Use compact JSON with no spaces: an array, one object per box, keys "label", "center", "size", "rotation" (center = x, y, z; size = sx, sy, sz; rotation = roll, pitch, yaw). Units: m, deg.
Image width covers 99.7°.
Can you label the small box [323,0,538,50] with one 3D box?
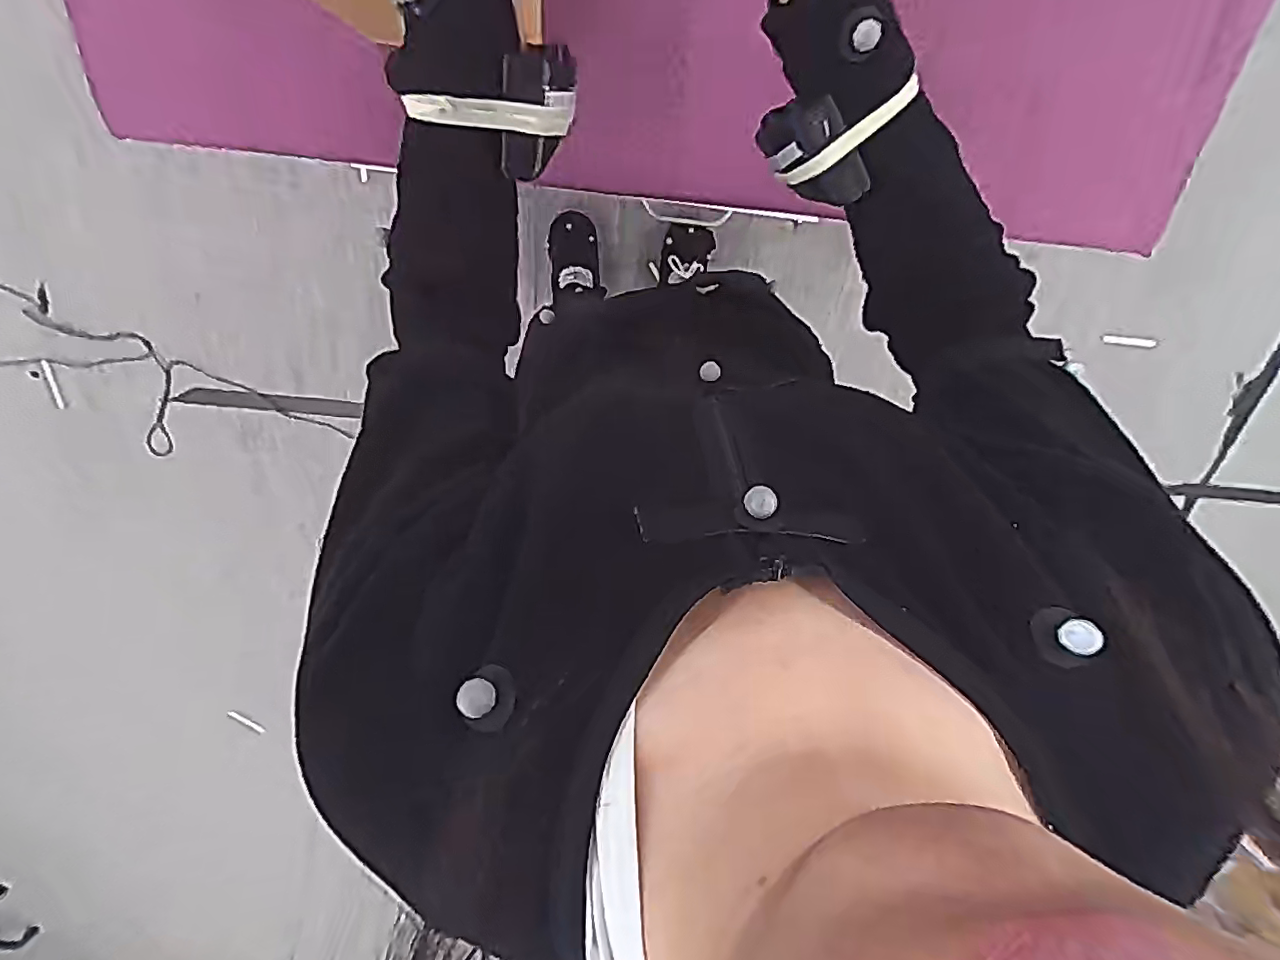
[{"label":"small box","center":[-0.178,-0.483,0.447],"size":[0.179,0.176,0.168],"rotation":[4,116,-4]}]
